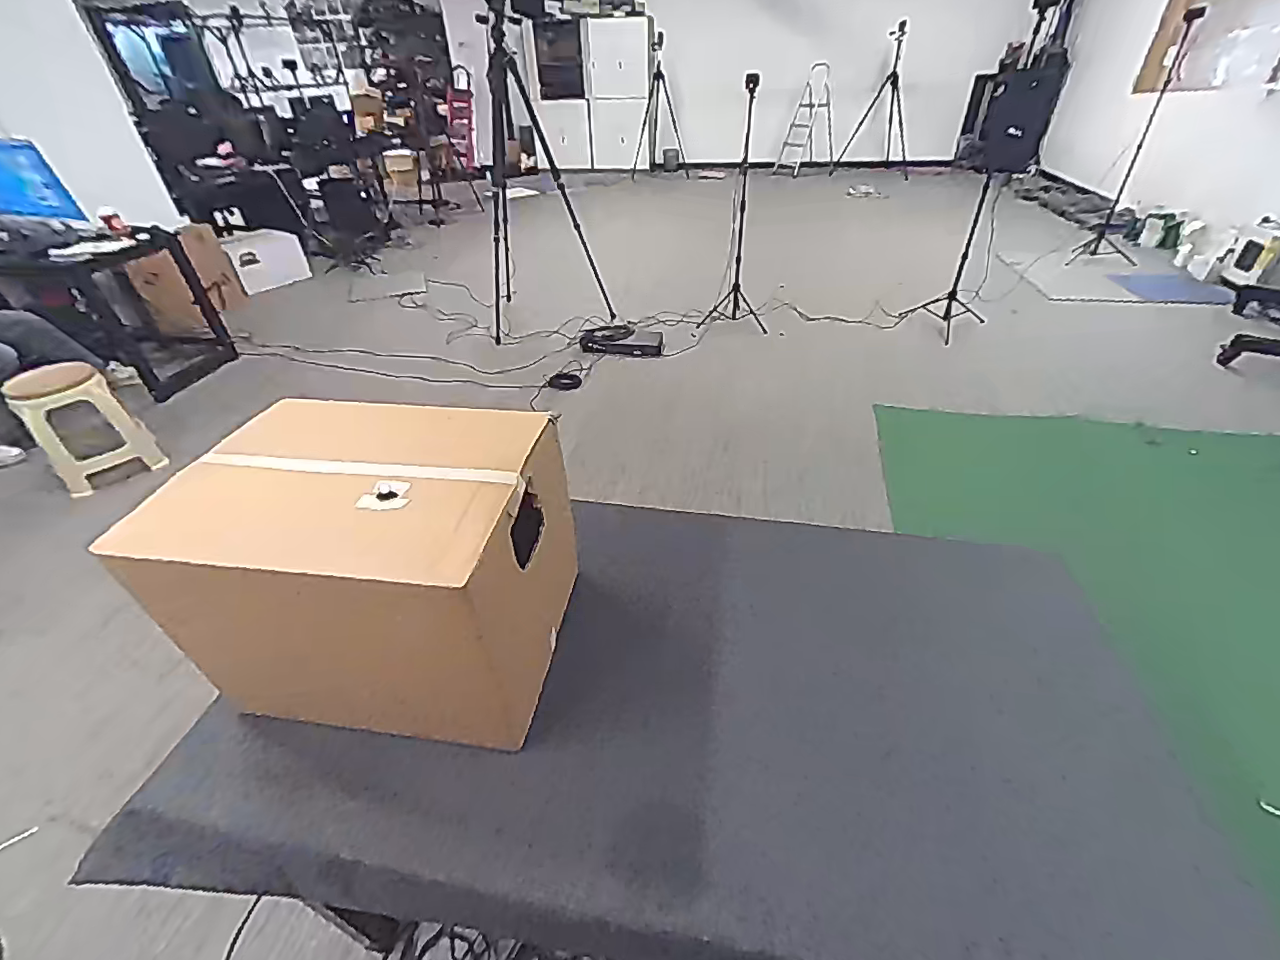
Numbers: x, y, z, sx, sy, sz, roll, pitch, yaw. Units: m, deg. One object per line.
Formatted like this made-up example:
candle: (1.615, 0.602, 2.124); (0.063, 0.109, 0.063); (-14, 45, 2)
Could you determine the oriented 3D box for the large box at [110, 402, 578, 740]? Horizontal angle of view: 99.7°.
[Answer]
large box: (-0.319, 0.110, 0.729); (0.408, 0.320, 0.320); (4, 39, 6)
